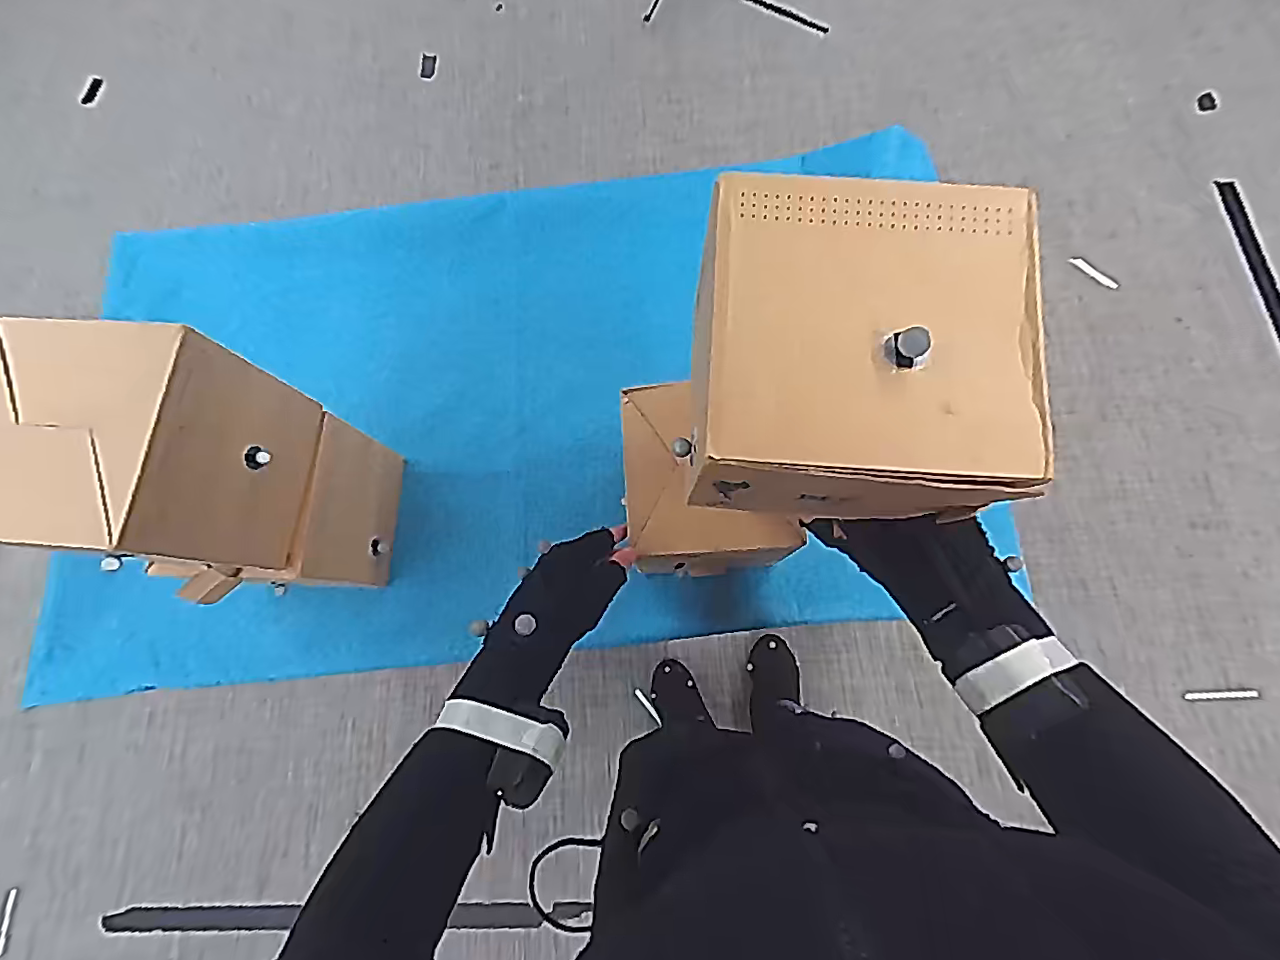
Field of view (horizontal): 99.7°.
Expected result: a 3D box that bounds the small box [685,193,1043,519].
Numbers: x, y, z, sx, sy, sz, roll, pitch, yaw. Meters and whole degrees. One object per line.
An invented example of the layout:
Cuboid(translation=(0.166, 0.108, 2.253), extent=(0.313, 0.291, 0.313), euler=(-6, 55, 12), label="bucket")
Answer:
Cuboid(translation=(0.126, -0.067, 0.369), extent=(0.179, 0.168, 0.176), euler=(3, 79, 1), label="small box")

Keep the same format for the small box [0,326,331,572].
Cuboid(translation=(-0.420, -0.017, 0.482), extent=(0.168, 0.176, 0.179), euler=(3, 77, 6), label="small box")

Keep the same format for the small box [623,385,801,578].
Cuboid(translation=(0.073, 0.007, 0.603), extent=(0.168, 0.176, 0.179), euler=(-5, 74, 2), label="small box")

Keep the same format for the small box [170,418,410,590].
Cuboid(translation=(-0.398, 0.035, 0.637), extent=(0.168, 0.176, 0.179), euler=(0, 76, 4), label="small box")
